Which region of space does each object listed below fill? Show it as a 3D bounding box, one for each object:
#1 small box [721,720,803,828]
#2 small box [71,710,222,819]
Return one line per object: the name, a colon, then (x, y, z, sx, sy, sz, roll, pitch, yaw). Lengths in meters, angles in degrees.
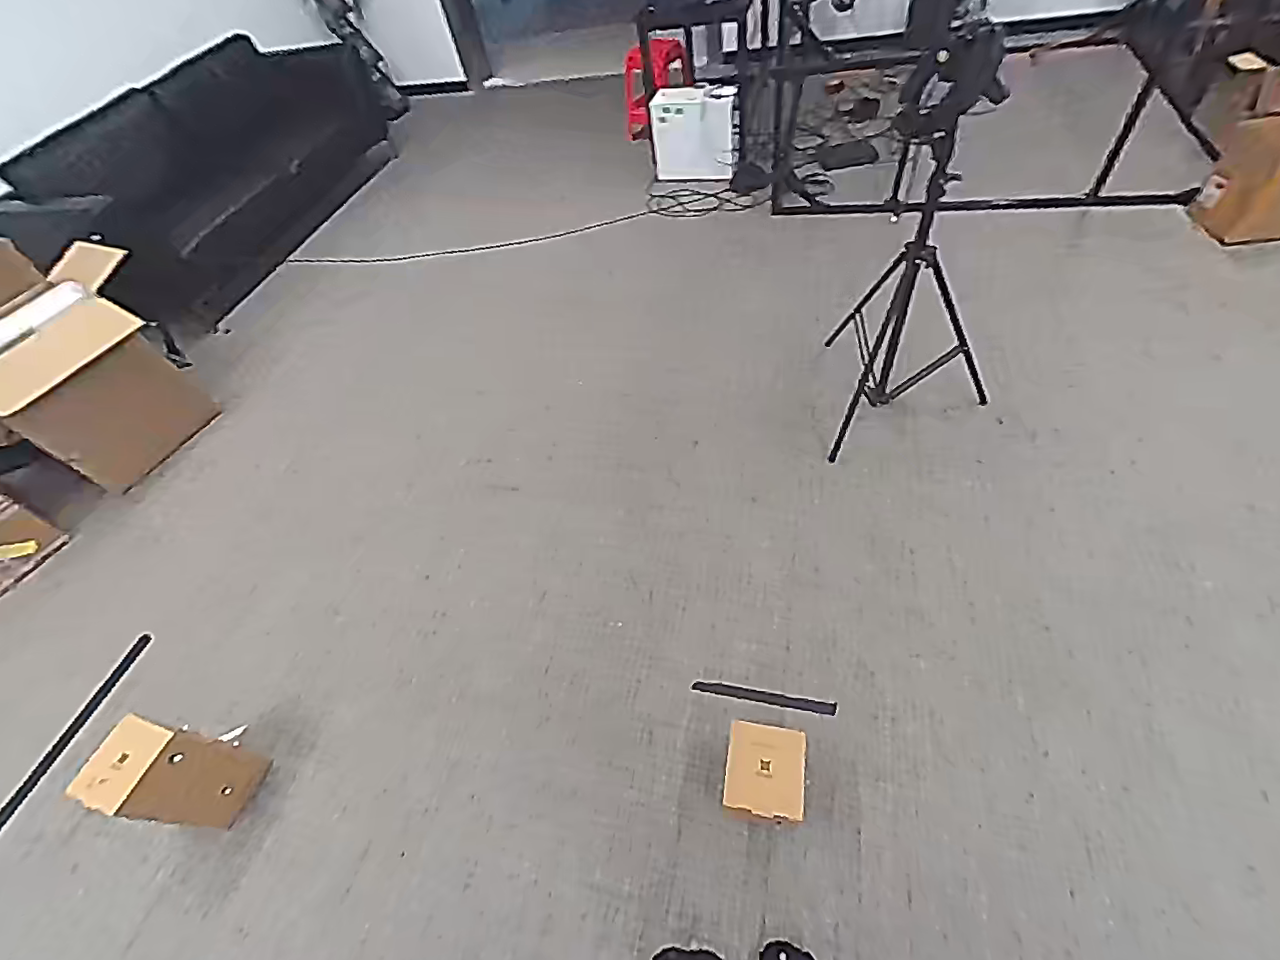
small box: (0.277, 0.670, 1.228, 0.168, 0.176, 0.179, 5, 53, 13)
small box: (-1.146, 0.674, 1.279, 0.168, 0.176, 0.179, 9, 56, 18)
